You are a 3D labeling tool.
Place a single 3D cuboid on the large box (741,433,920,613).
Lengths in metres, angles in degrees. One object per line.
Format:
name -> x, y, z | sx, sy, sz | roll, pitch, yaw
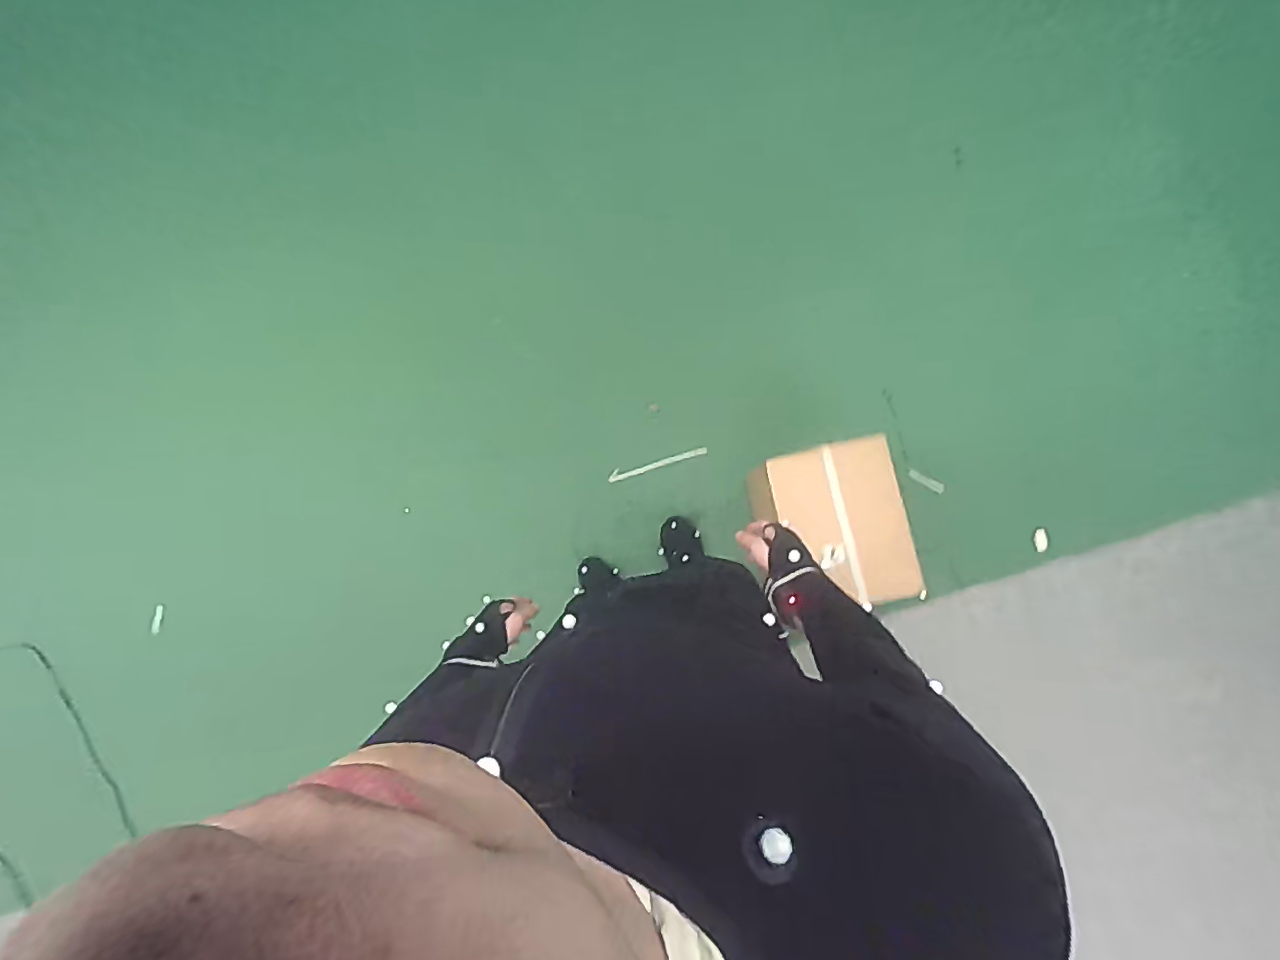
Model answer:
large box -> 0.501, 0.115, 1.502 | 0.320, 0.320, 0.408 | -13, 86, 0
